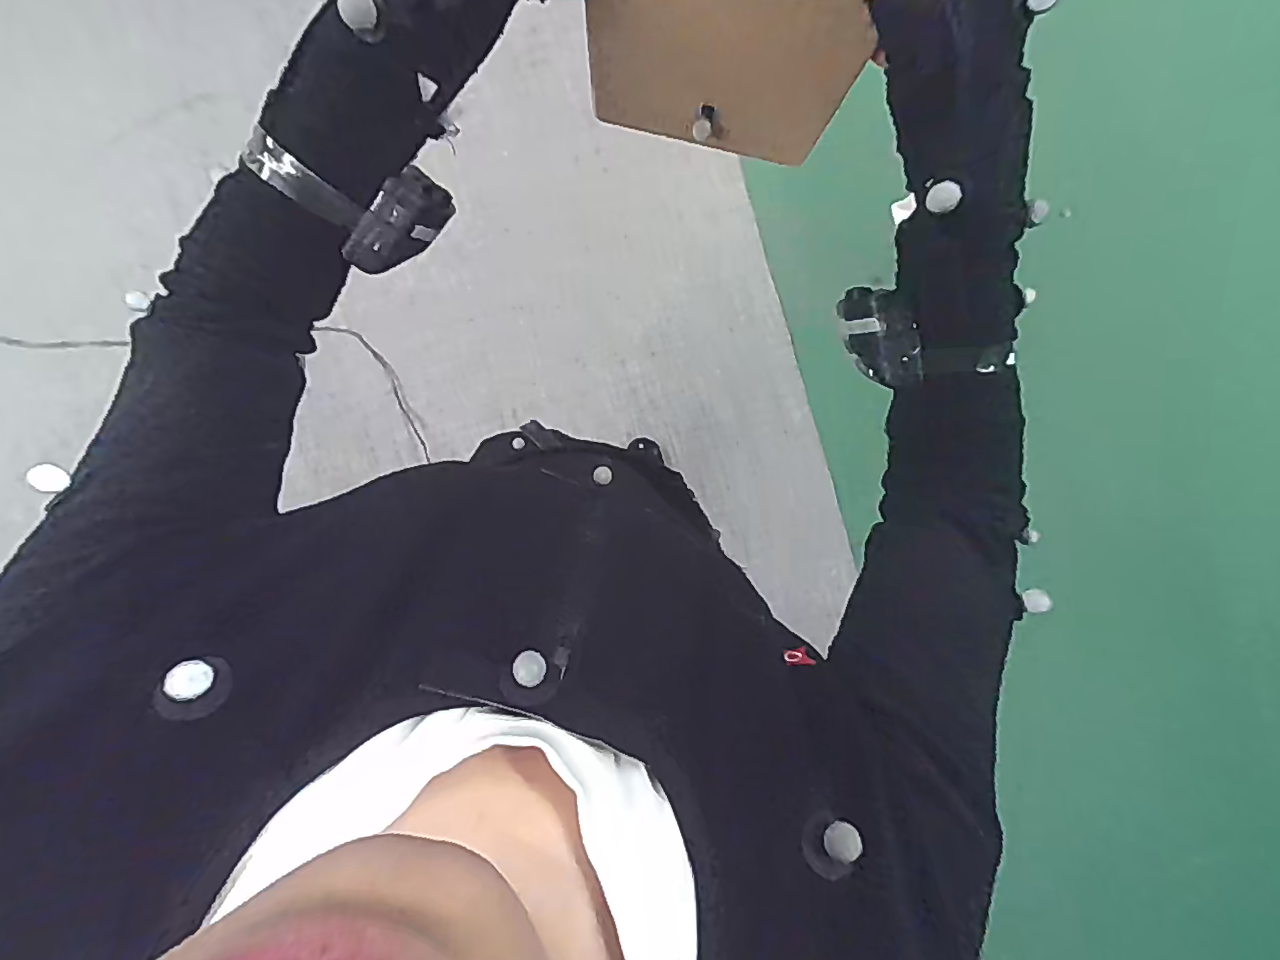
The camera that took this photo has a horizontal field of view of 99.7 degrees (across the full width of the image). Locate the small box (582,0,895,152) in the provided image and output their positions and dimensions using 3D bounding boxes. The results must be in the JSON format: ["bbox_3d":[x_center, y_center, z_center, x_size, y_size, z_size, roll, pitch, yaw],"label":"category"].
[{"bbox_3d":[0.063,-0.353,0.355,0.179,0.176,0.168,11,90,-3],"label":"small box"}]
